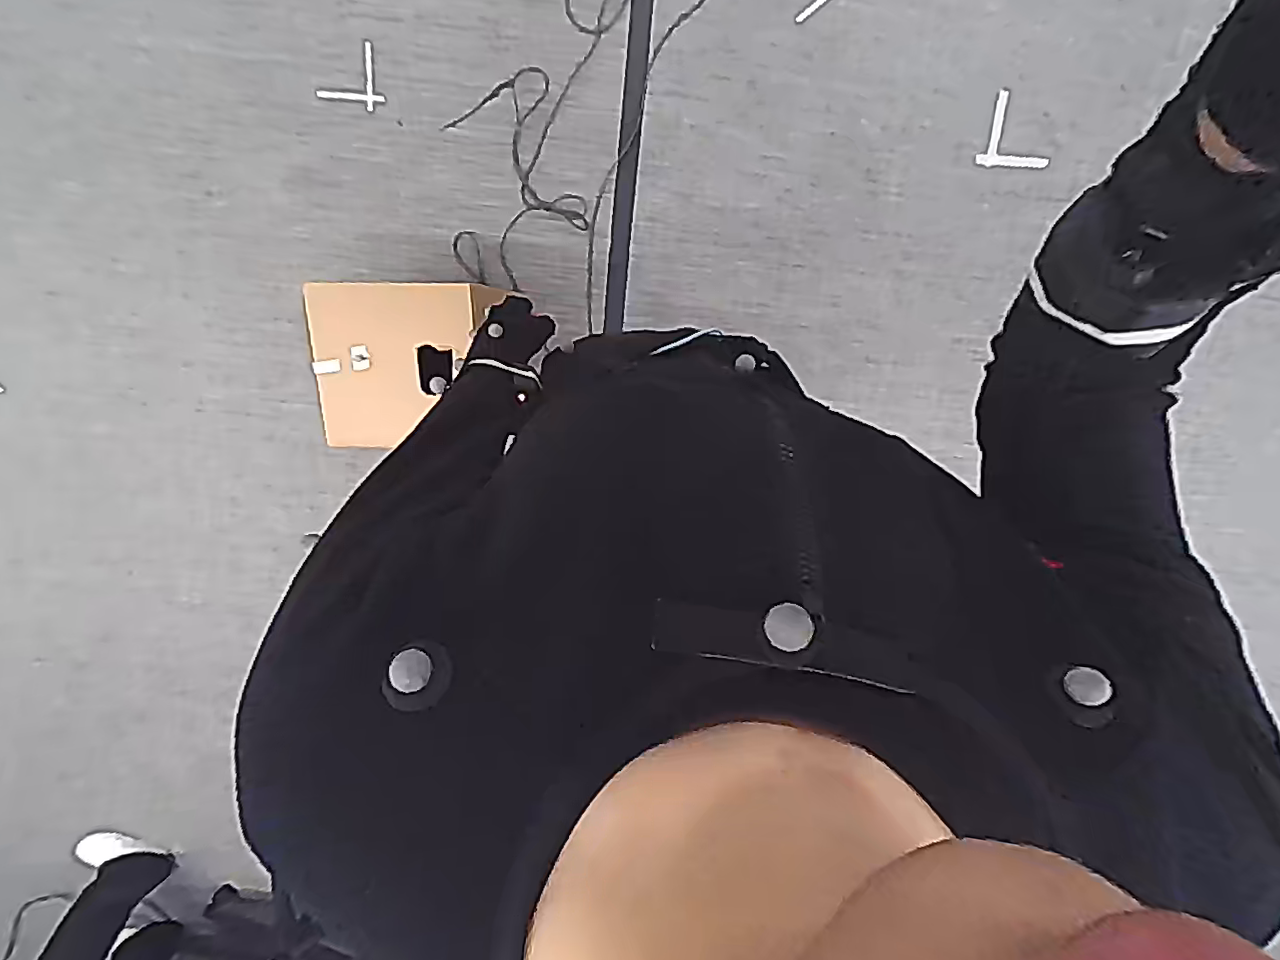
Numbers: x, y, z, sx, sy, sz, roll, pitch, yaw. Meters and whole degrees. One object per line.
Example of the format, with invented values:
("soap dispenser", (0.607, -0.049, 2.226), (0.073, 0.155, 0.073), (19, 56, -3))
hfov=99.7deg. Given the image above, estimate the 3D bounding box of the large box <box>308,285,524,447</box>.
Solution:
("large box", (-0.465, -0.270, 1.222), (0.320, 0.408, 0.320), (1, 107, 0))
